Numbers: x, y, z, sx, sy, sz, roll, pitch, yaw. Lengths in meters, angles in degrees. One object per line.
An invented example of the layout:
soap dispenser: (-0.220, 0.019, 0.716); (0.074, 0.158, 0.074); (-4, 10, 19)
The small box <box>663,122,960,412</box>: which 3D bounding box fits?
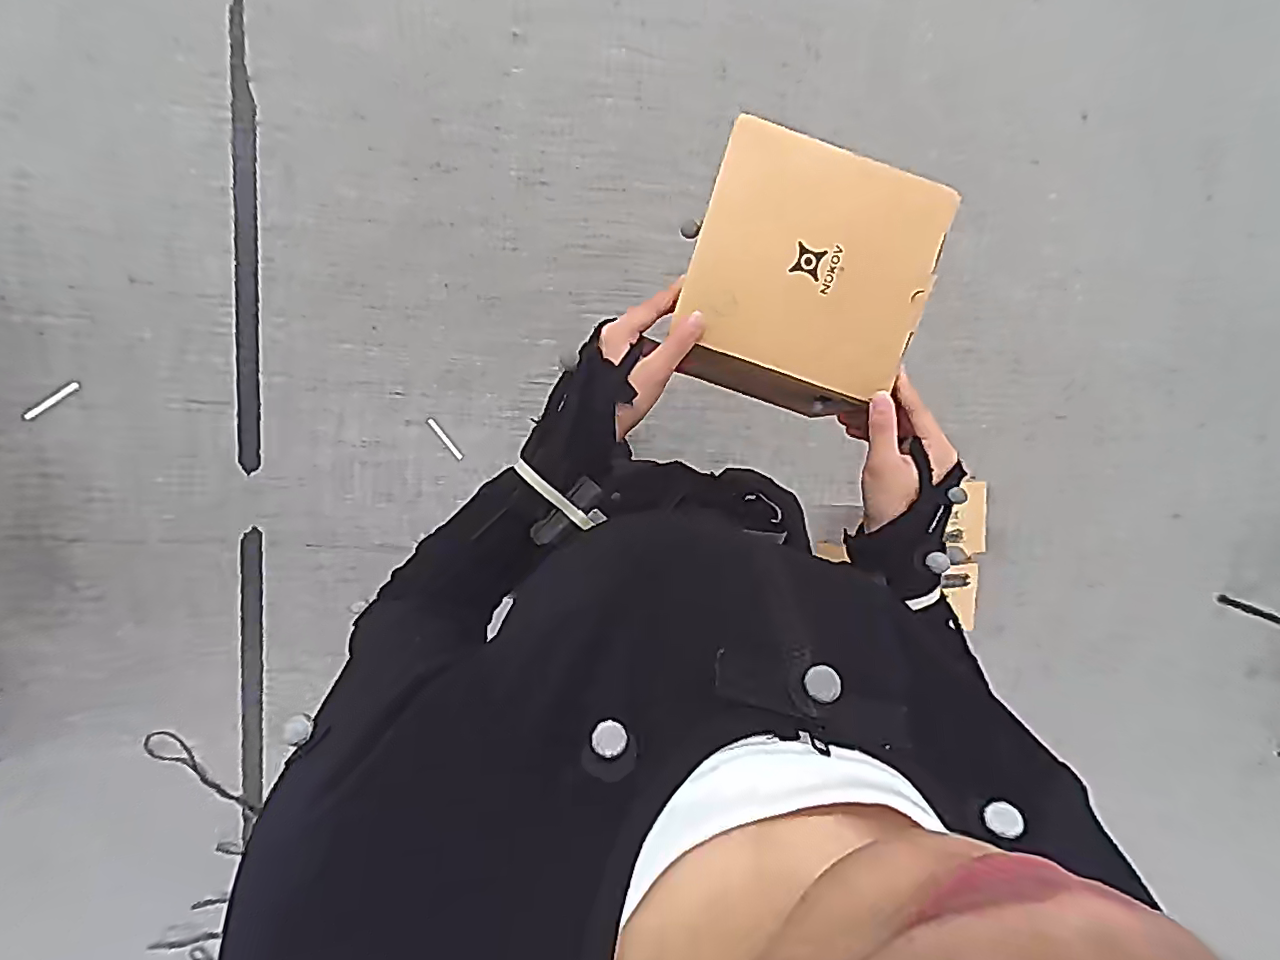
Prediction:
small box: (0.126, -0.162, 0.475); (0.179, 0.176, 0.168); (18, 94, -3)
